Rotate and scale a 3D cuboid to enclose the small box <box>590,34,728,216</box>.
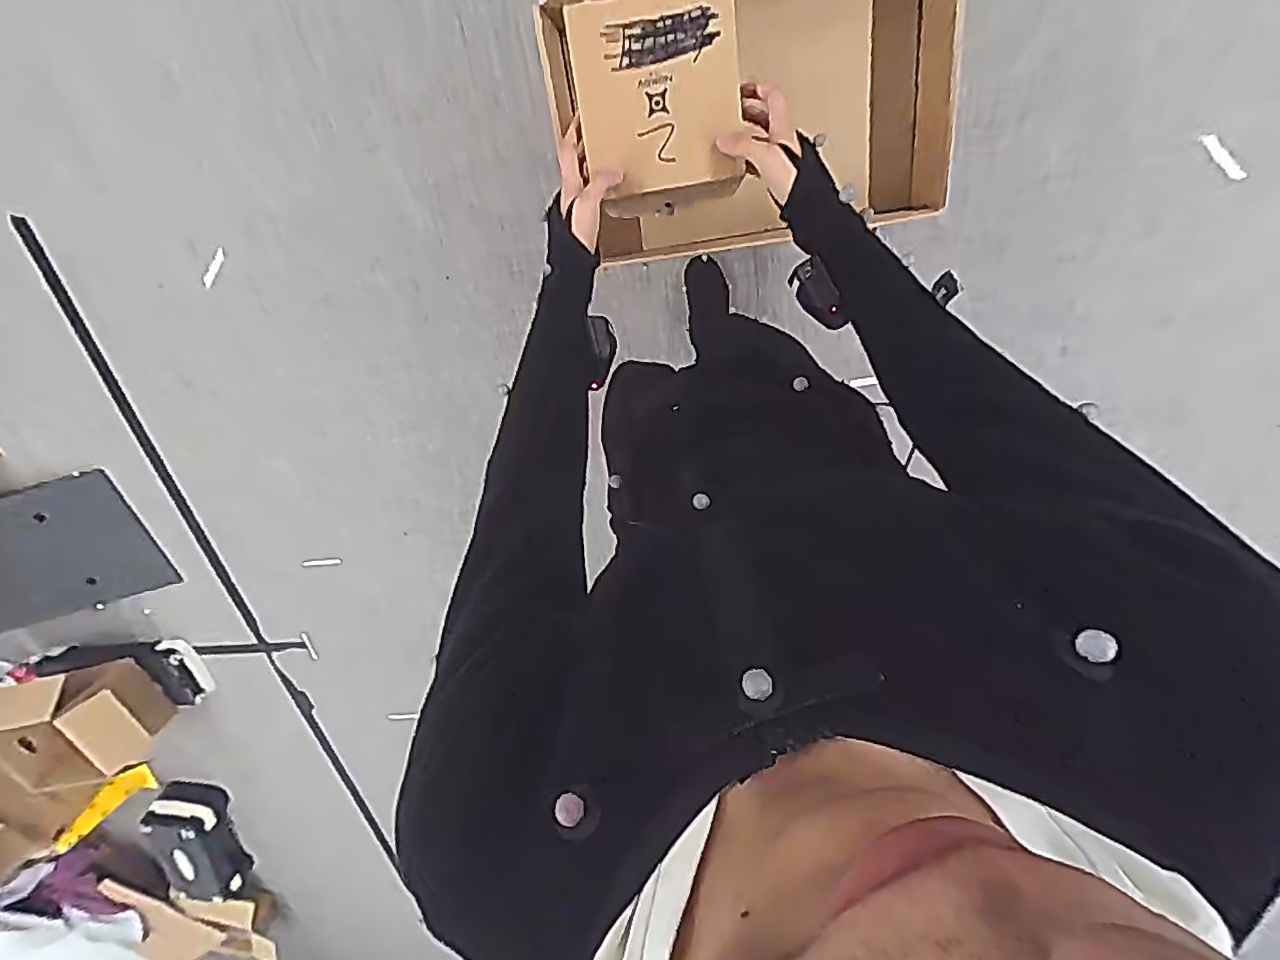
[{"bbox_3d":[0.032,-0.487,0.770,0.168,0.176,0.179,-5,113,8],"label":"small box"}]
